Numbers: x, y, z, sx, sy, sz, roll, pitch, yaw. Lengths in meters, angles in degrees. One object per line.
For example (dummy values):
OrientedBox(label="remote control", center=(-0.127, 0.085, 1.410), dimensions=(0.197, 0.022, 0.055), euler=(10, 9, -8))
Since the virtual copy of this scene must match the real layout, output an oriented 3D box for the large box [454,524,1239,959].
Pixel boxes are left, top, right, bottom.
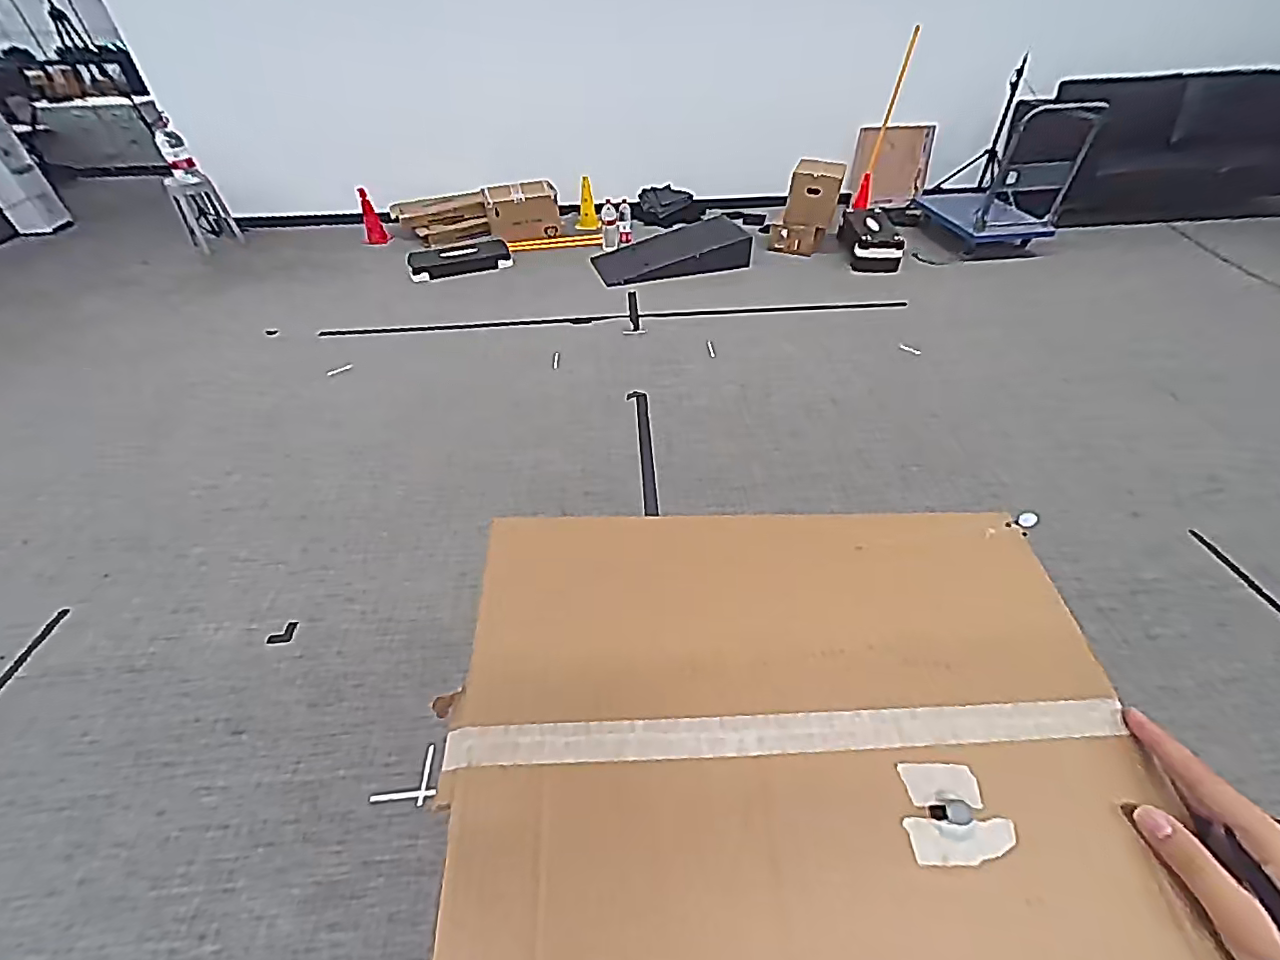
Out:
OrientedBox(label="large box", center=(0.091, 0.251, 0.446), dimensions=(0.408, 0.320, 0.320), euler=(0, 52, -5))
